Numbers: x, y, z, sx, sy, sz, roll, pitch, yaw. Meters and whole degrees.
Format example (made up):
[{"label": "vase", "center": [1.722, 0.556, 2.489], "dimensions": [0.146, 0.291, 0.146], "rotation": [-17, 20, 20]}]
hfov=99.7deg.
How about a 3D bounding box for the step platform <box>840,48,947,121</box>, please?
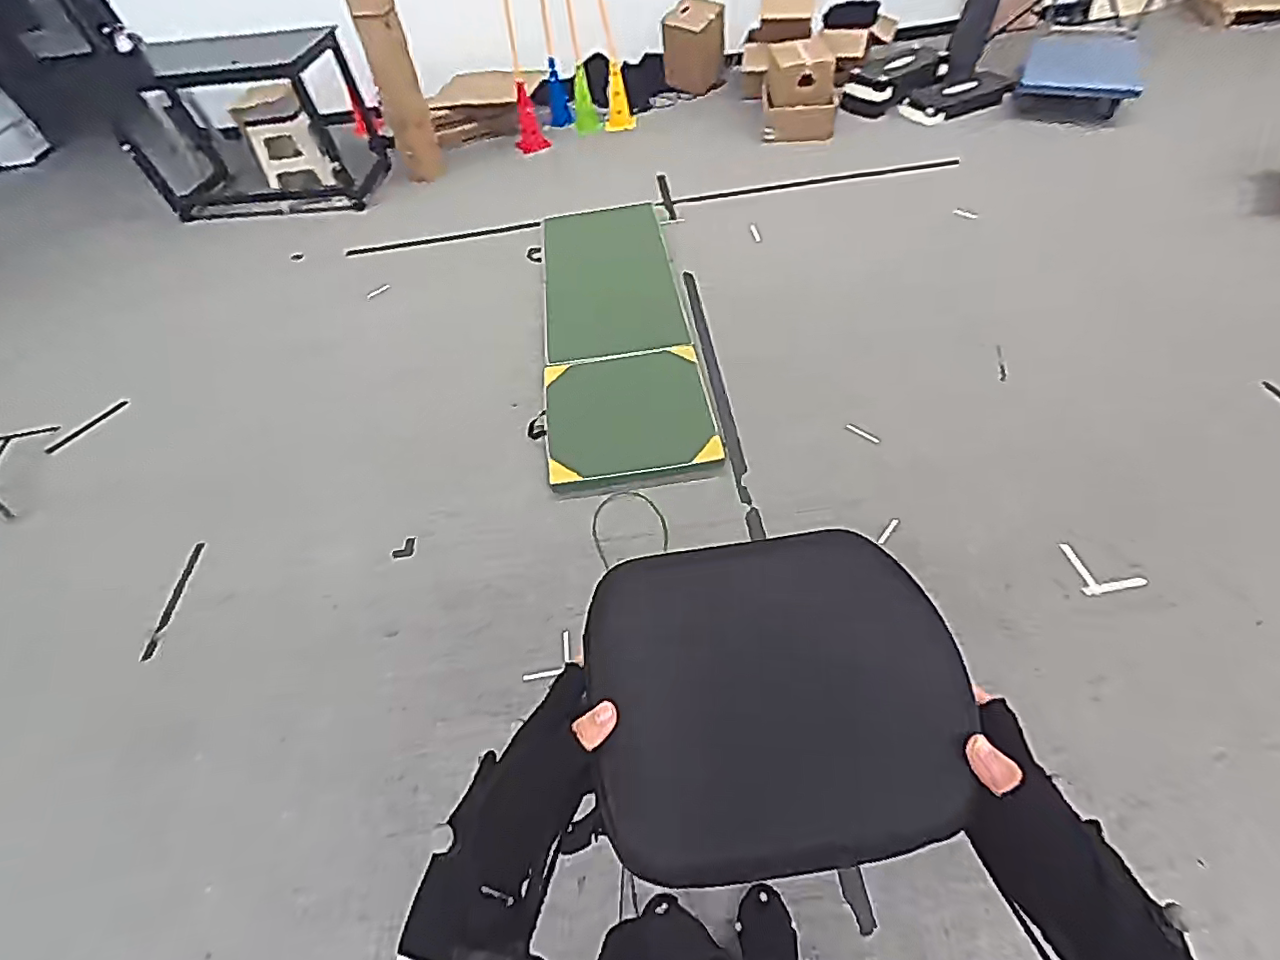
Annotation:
[{"label": "step platform", "center": [1.607, -2.513, 3.424], "dimensions": [0.684, 0.204, 0.286], "rotation": [-33, 57, -17]}]
